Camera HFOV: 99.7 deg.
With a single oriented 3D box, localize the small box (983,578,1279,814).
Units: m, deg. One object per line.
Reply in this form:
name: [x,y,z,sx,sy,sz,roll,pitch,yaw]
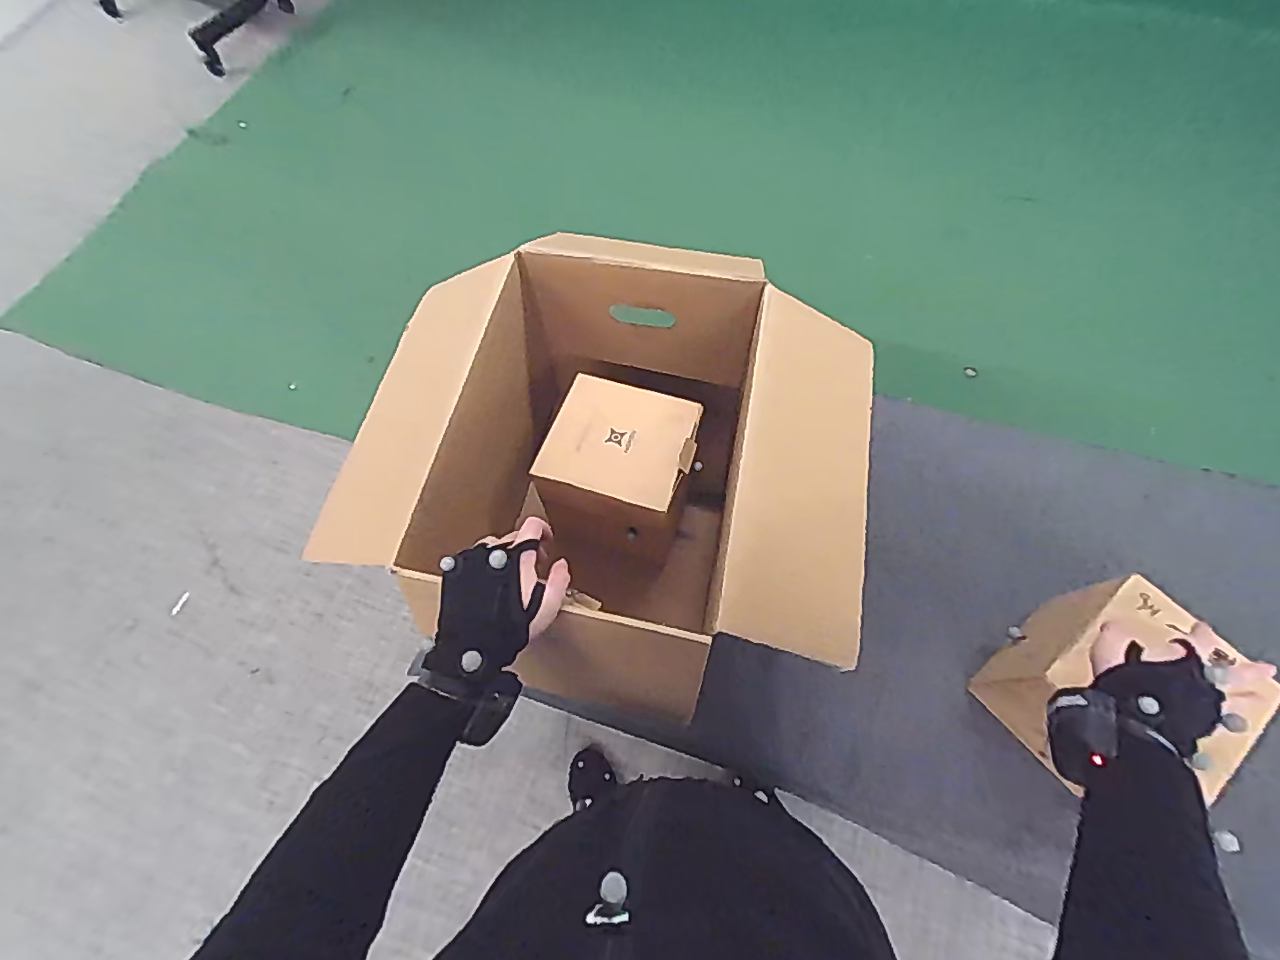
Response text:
small box: [0.548,0.249,0.635,0.179,0.176,0.168,-38,69,-13]
